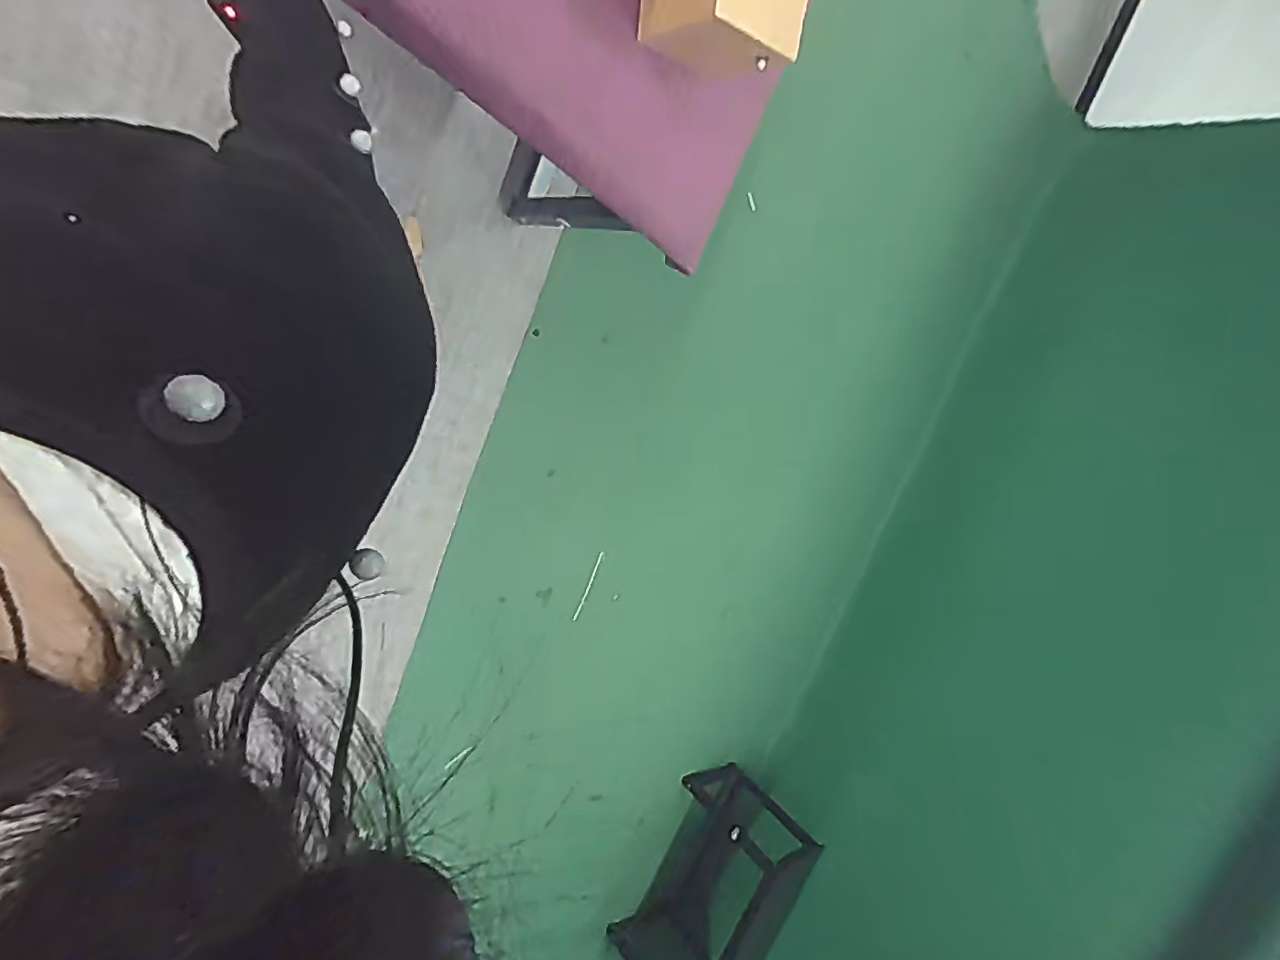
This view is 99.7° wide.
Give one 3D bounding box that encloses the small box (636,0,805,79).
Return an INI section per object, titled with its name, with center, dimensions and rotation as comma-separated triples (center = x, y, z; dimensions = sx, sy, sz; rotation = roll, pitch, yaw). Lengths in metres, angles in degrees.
[small box]
center = 0.115, -0.696, 0.761
dimensions = 0.179, 0.176, 0.168
rotation = -10, 117, -39
